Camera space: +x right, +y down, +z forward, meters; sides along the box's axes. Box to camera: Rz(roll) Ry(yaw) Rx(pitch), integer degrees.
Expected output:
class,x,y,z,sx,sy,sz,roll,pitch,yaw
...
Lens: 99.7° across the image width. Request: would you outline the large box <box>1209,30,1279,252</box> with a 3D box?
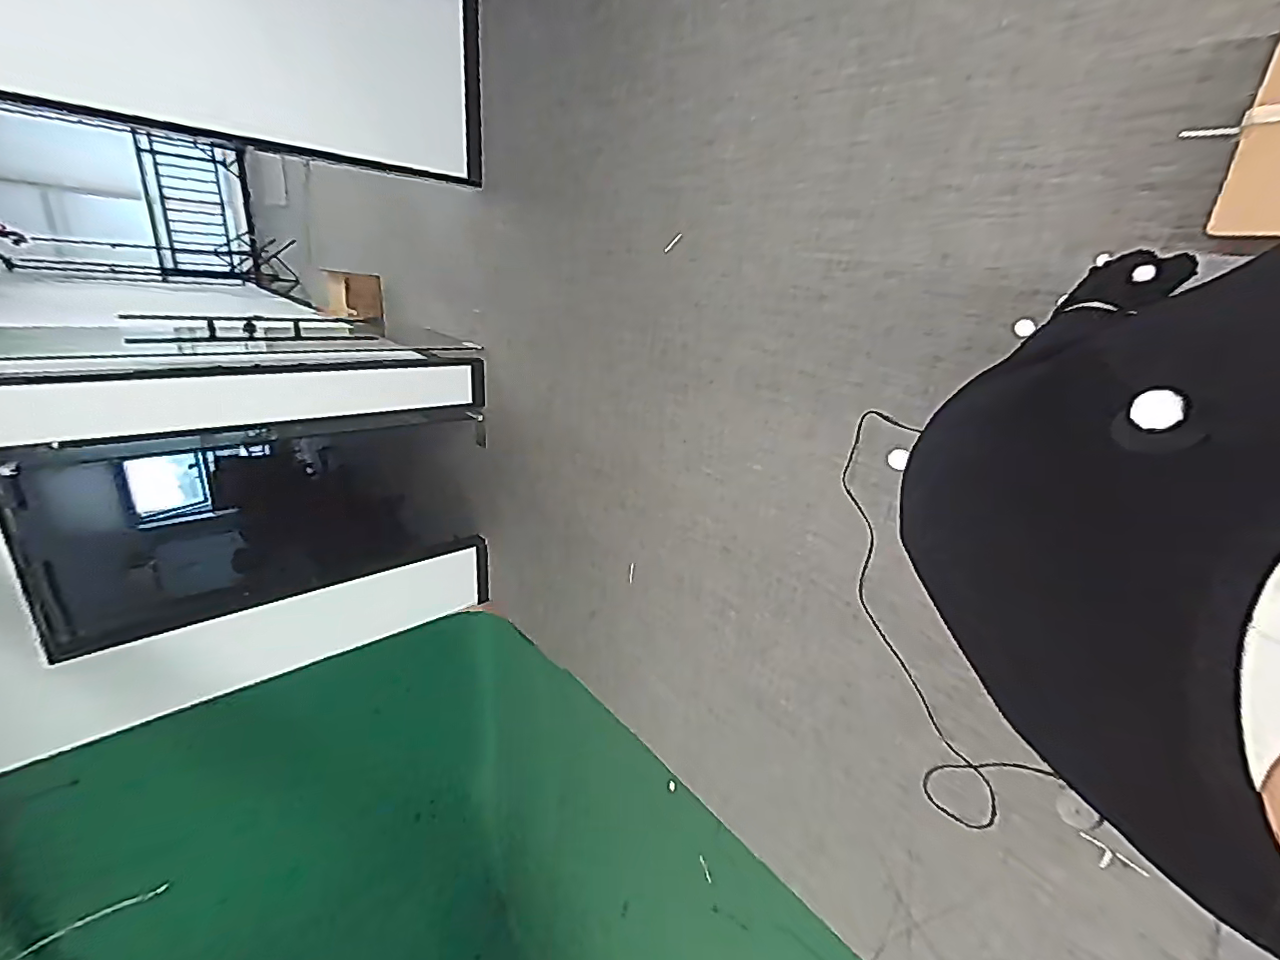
class,x,y,z,sx,sy,sz,roll,pitch,yaw
large box,1.102,-0.490,0.724,0.408,0.320,0.320,24,118,43
